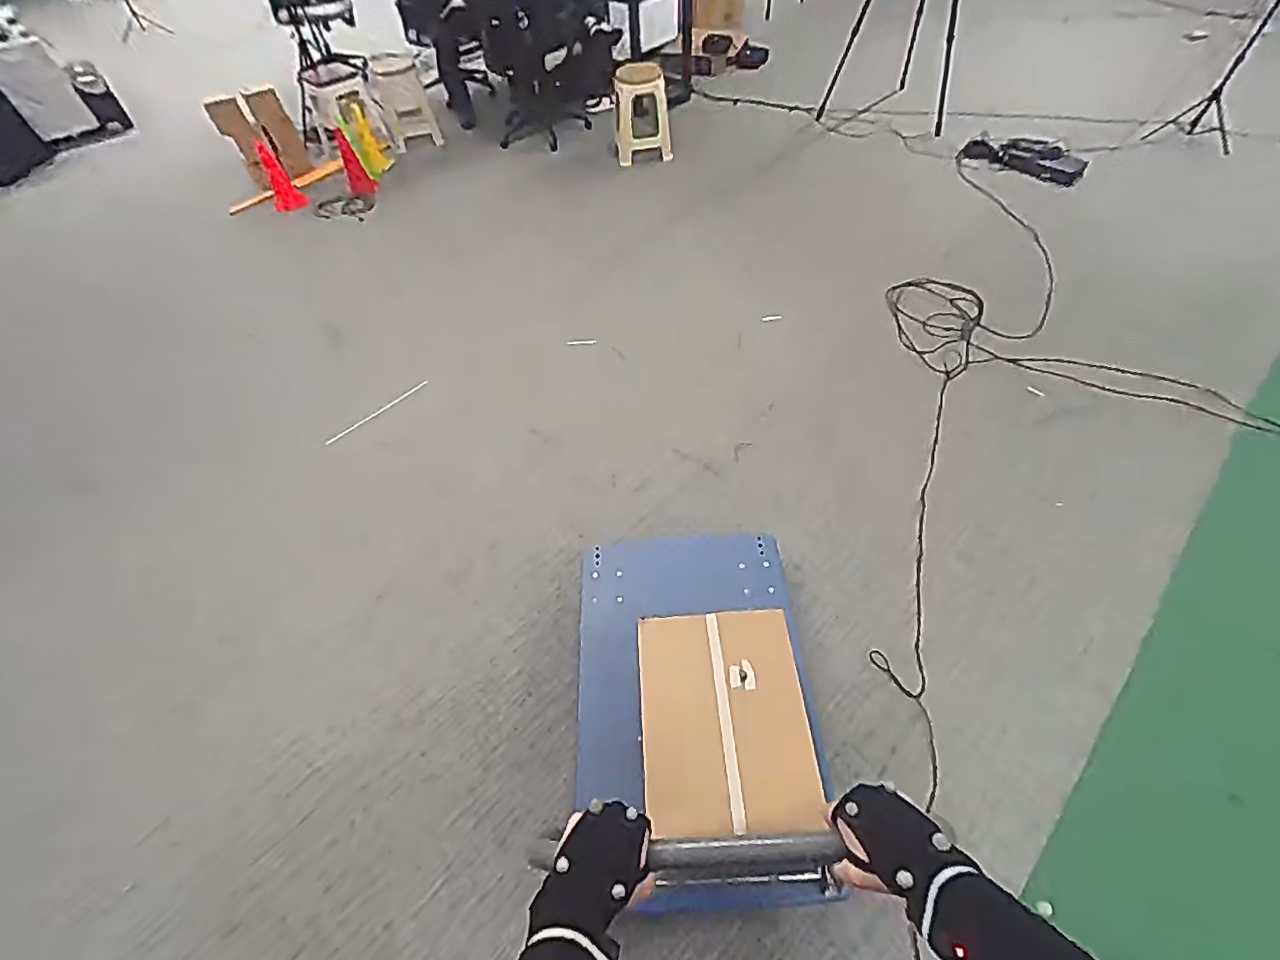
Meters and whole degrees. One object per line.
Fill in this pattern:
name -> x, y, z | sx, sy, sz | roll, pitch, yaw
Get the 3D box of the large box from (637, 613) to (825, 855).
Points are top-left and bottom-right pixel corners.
large box -> 0.167, 0.547, 1.168 | 0.320, 0.320, 0.408 | -4, 52, 1
